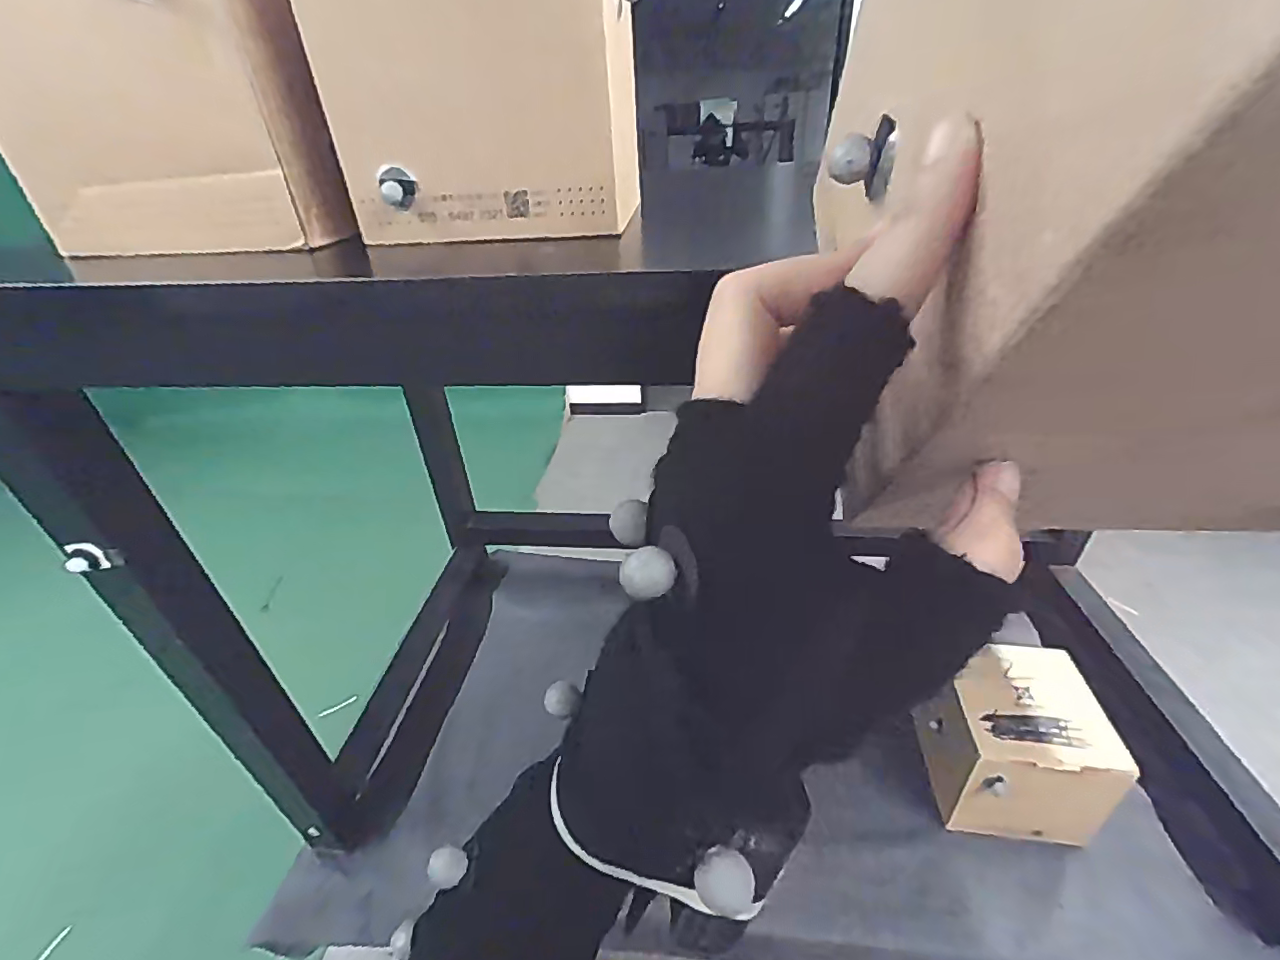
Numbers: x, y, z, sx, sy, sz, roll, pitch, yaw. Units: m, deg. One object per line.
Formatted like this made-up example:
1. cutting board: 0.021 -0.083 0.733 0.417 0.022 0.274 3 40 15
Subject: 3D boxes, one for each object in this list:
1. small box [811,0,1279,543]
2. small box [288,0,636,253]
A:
1. small box: 0.148 -0.082 0.145 0.179 0.176 0.168 0 70 7
2. small box: -0.093 -0.256 0.367 0.168 0.176 0.179 0 33 5
